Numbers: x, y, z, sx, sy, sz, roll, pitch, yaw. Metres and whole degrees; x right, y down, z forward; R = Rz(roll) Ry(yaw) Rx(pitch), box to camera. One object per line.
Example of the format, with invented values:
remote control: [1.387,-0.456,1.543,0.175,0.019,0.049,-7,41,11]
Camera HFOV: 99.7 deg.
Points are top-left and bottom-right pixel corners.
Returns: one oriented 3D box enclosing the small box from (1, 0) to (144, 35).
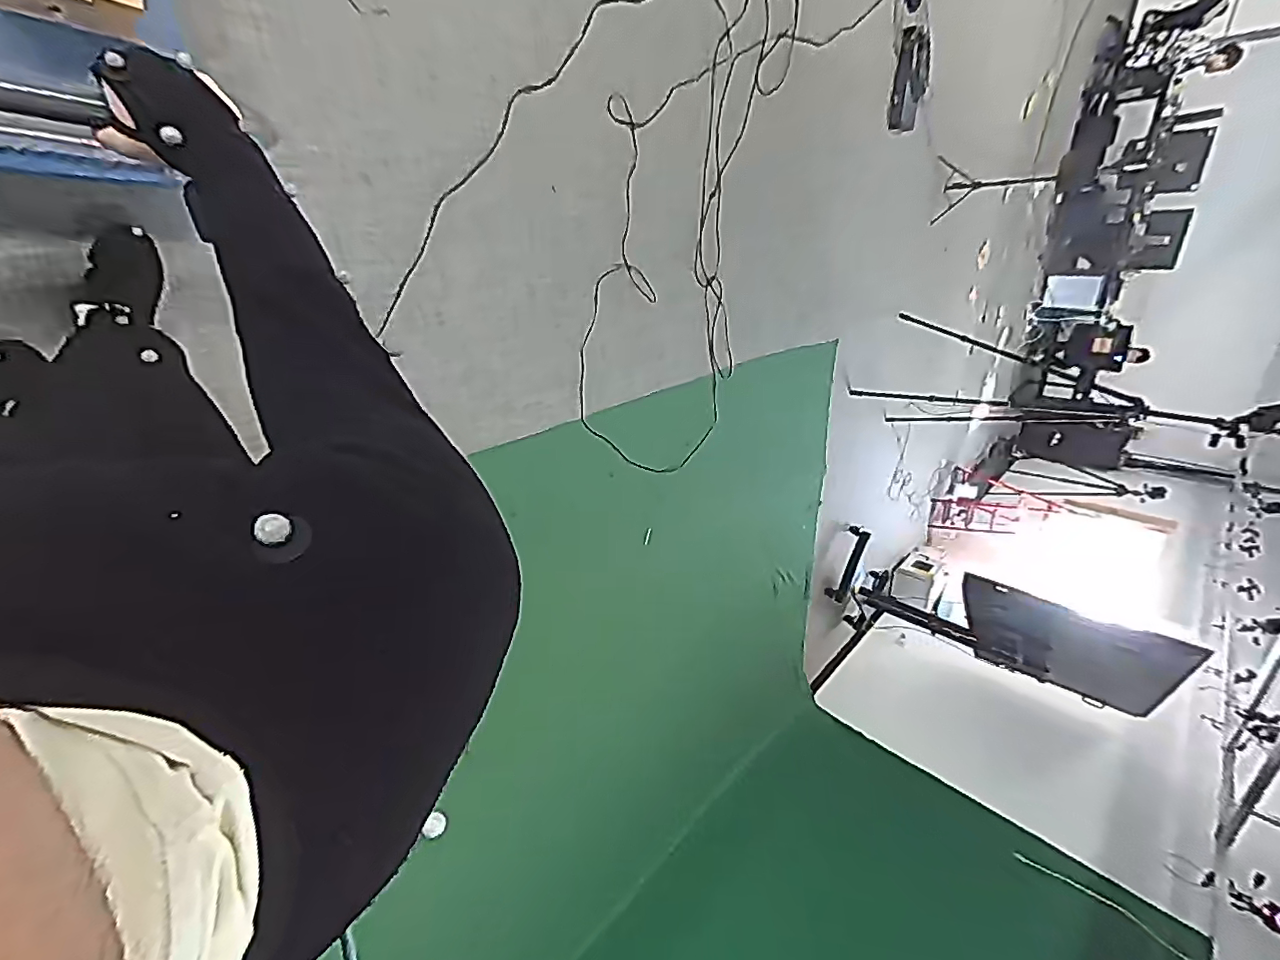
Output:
small box: [-0.867,-0.803,0.791,0.168,0.176,0.179,-17,118,-43]
